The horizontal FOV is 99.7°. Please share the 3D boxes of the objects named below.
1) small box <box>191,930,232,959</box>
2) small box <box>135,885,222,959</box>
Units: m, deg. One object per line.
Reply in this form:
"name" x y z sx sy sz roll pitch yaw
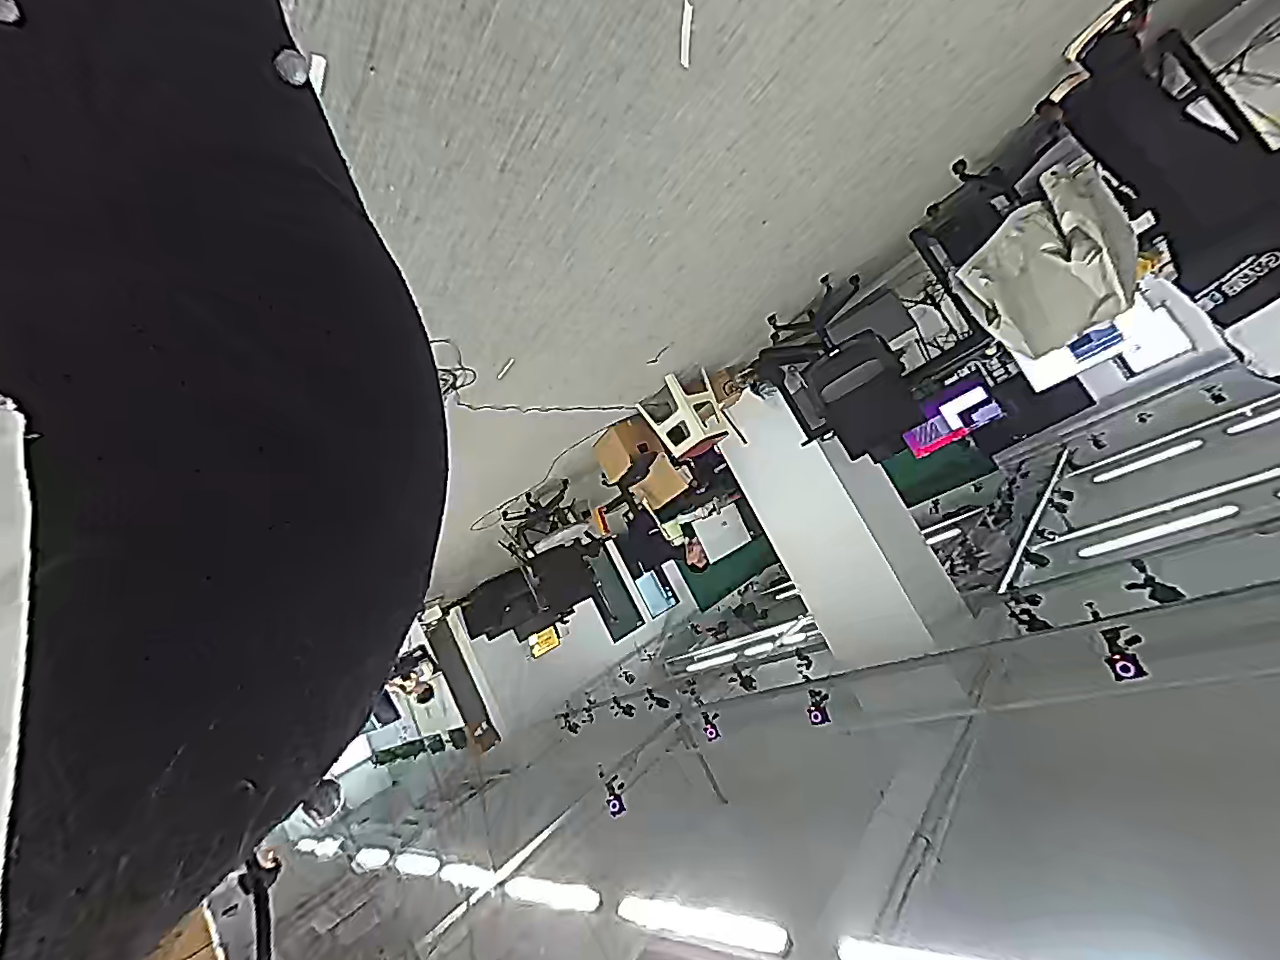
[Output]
"small box" -1.411 1.593 1.718 0.179 0.176 0.168 -20 172 -40
"small box" -1.484 1.449 1.744 0.179 0.176 0.168 -19 170 -42
